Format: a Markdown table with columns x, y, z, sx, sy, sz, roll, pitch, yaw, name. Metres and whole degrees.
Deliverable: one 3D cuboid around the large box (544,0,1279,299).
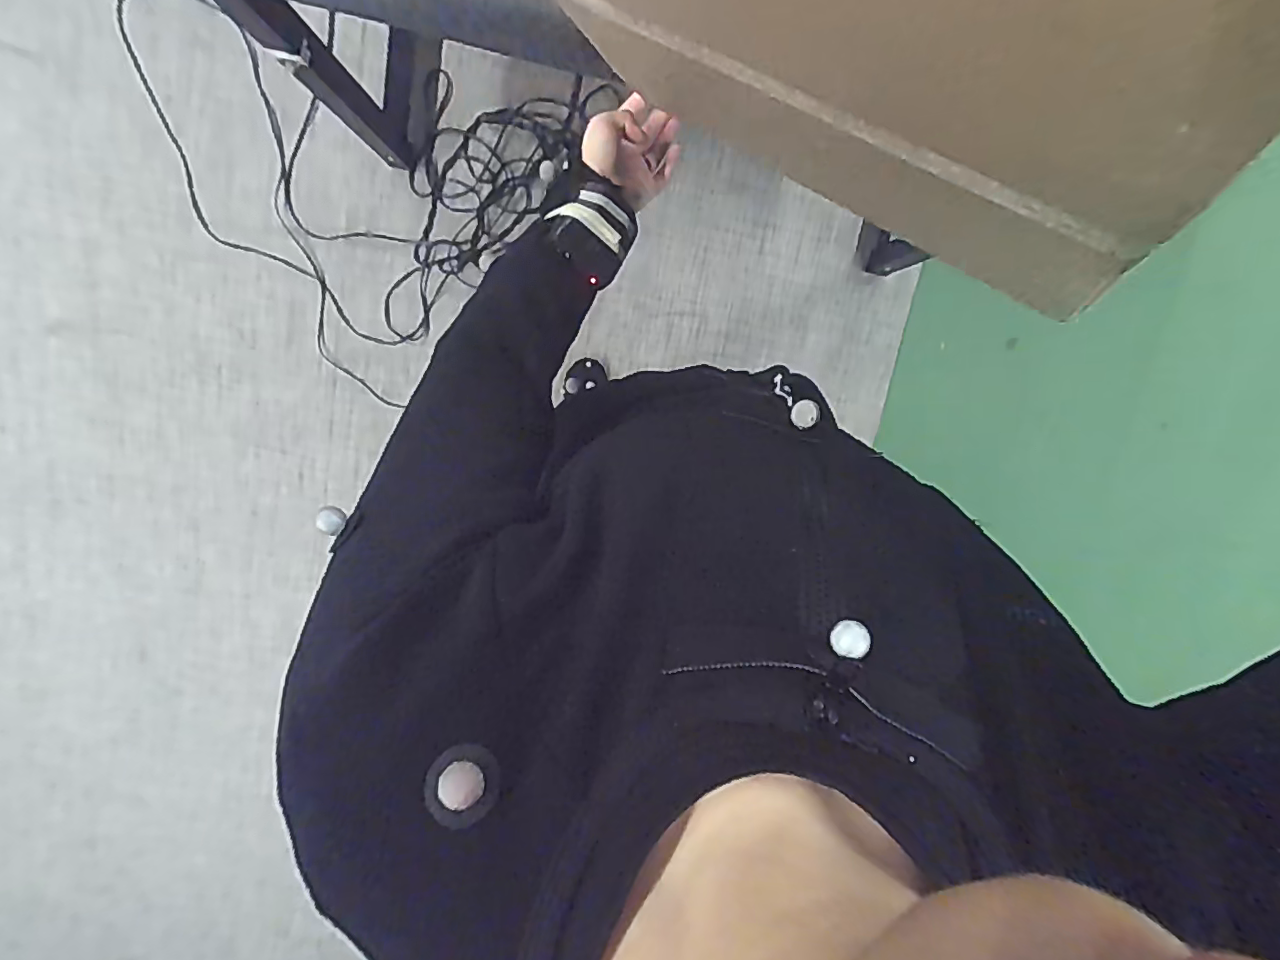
| x | y | z | sx | sy | sz | roll | pitch | yaw | name |
| --- | --- | --- | --- | --- | --- | --- | --- | --- | --- |
| 0.149 | -0.340 | 0.251 | 0.408 | 0.320 | 0.320 | 39 | 109 | 20 | large box |
